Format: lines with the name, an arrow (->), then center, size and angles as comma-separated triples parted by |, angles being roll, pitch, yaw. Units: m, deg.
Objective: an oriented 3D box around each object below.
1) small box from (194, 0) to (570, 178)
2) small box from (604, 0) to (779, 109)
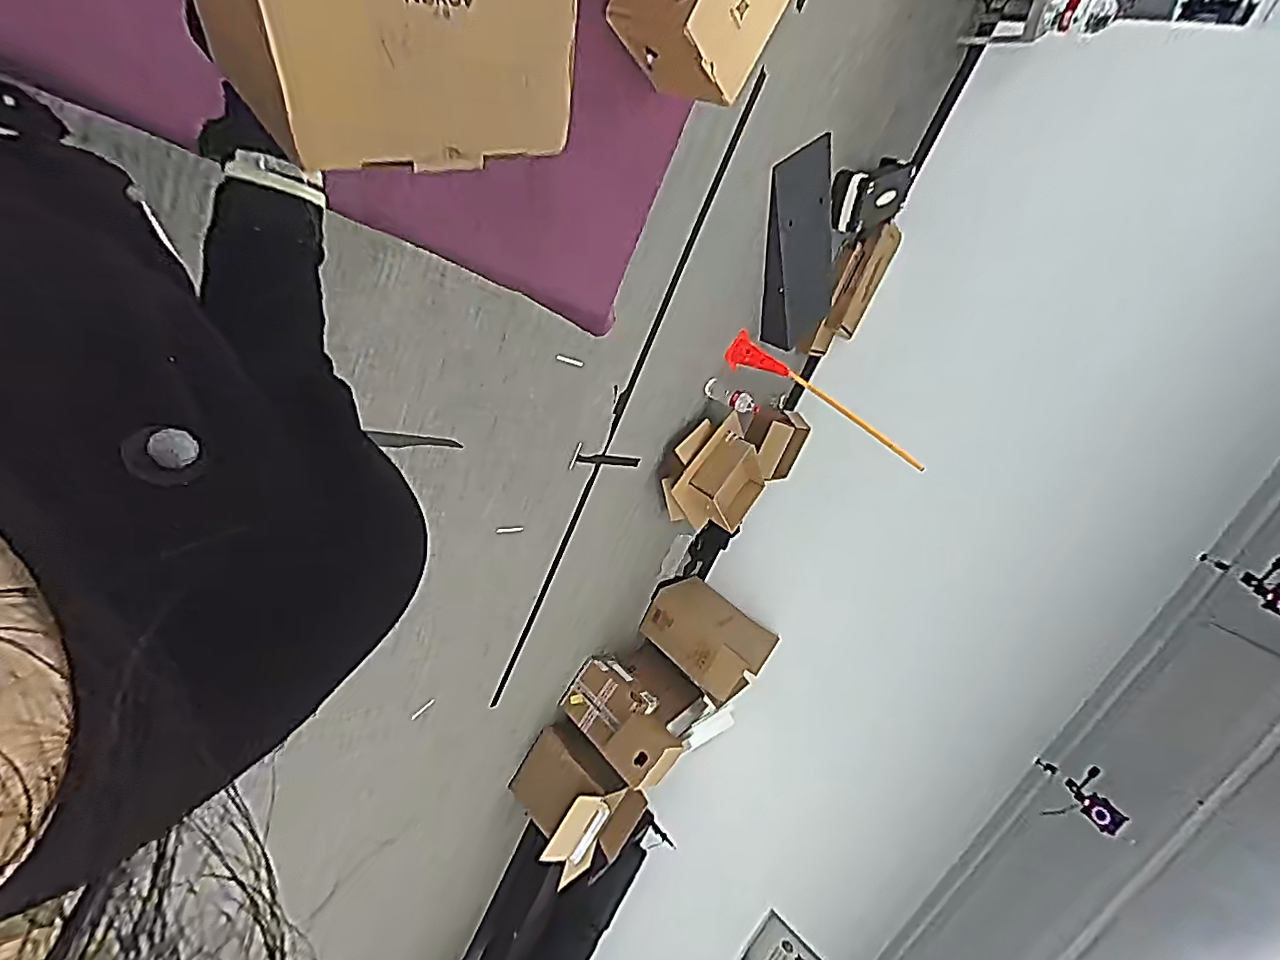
small box -> -0.153, -0.302, 0.303 | 0.168, 0.176, 0.179 | -27, 152, -31
small box -> 0.076, -0.718, 0.820 | 0.168, 0.176, 0.179 | 9, 115, -58
